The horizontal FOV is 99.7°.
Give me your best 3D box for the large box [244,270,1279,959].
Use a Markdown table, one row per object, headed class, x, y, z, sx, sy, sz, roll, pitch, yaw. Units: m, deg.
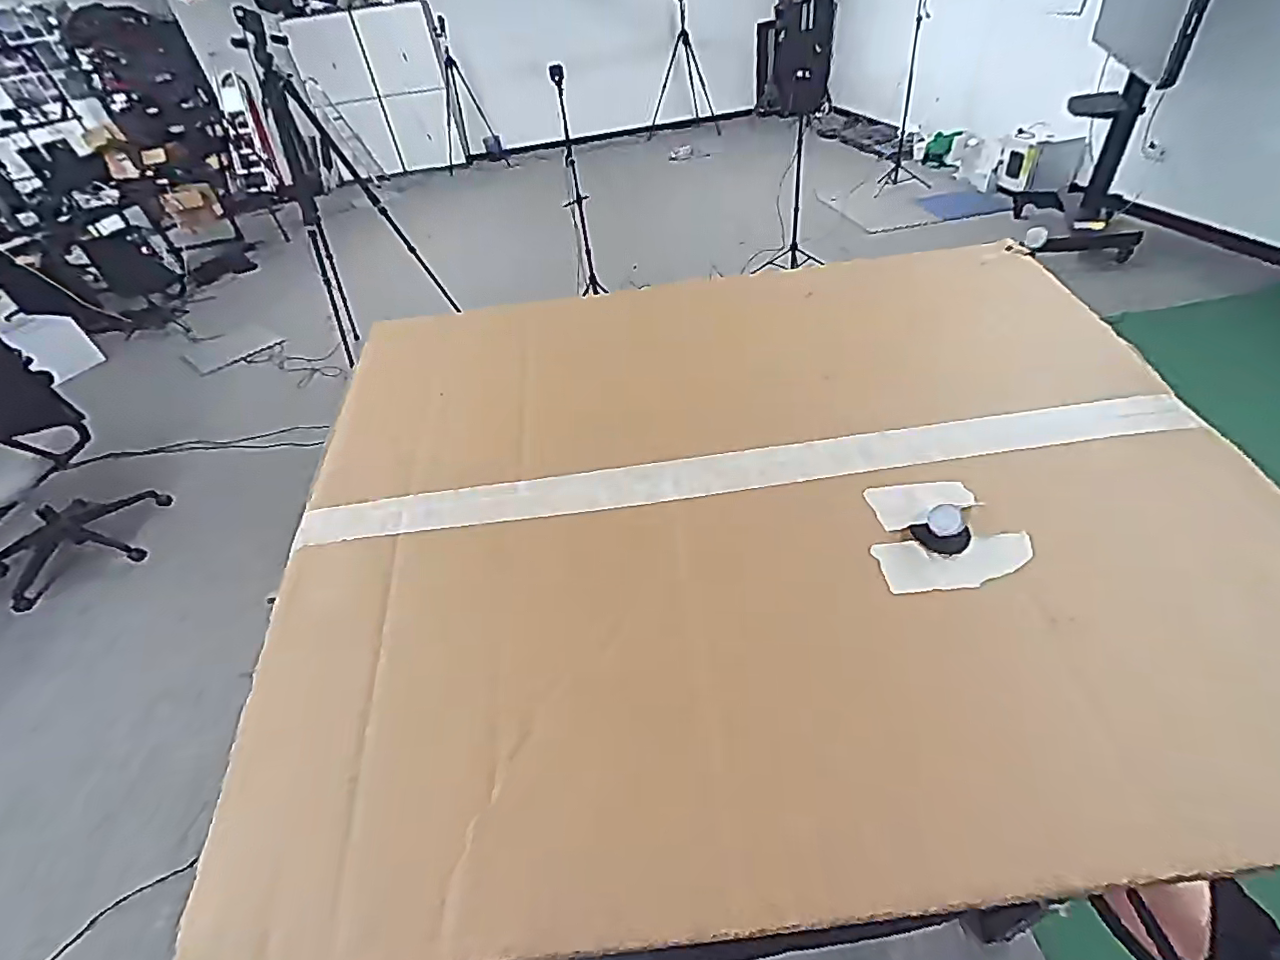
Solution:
| class | x | y | z | sx | sy | sz | roll | pitch | yaw |
| --- | --- | --- | --- | --- | --- | --- | --- | --- | --- |
| large box | 0.059 | 0.097 | 0.384 | 0.408 | 0.320 | 0.320 | -8 | 54 | 0 |
